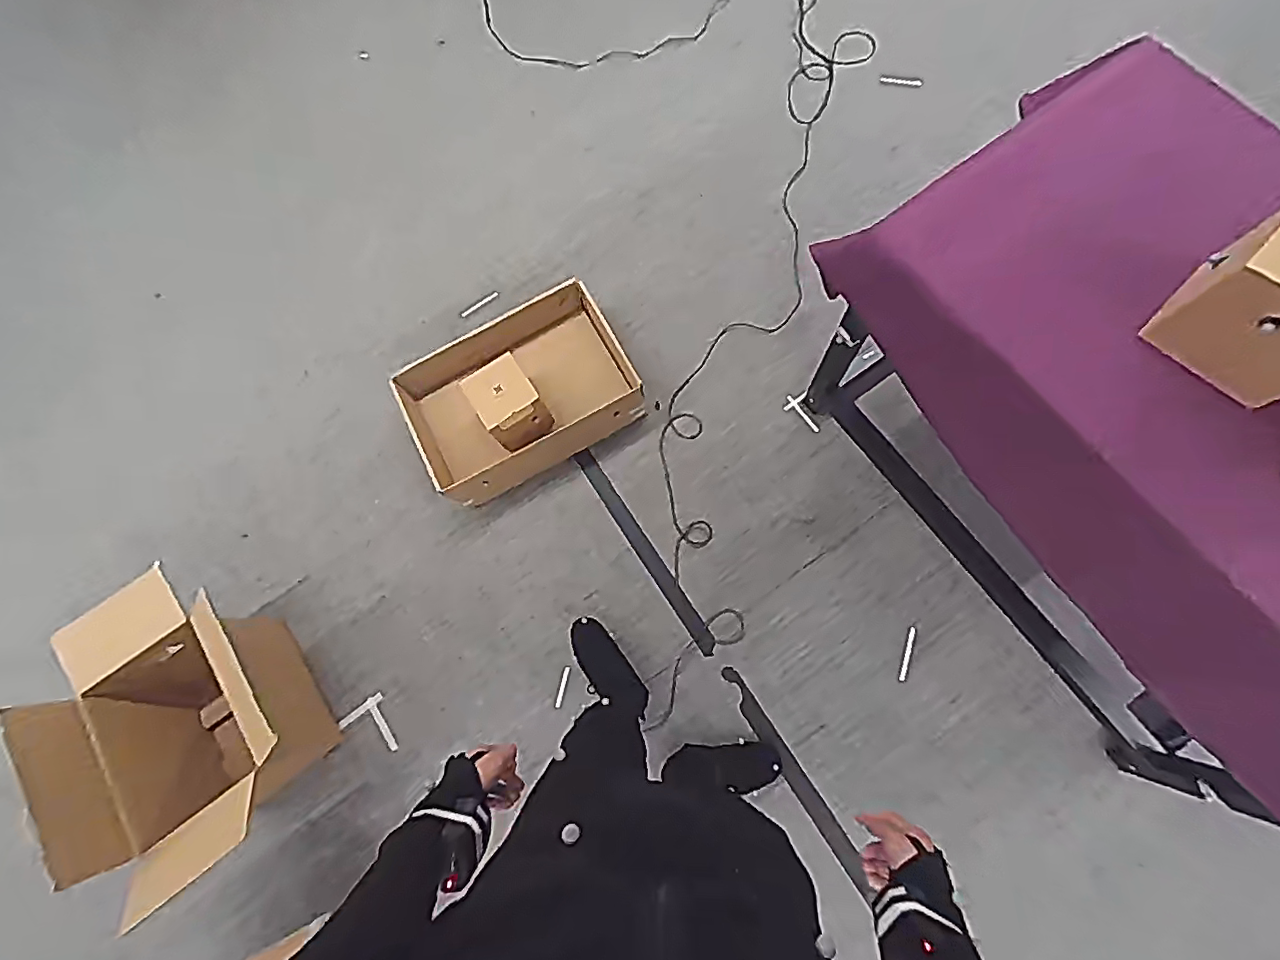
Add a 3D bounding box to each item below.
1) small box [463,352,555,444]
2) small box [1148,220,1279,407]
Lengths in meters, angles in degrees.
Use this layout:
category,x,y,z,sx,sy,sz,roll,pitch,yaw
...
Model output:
category,x,y,z,sx,sy,sz,roll,pitch,yaw
small box,-0.363,-0.220,1.530,0.168,0.176,0.179,-33,75,-5
small box,0.844,-0.225,0.706,0.168,0.176,0.179,-43,76,-6
